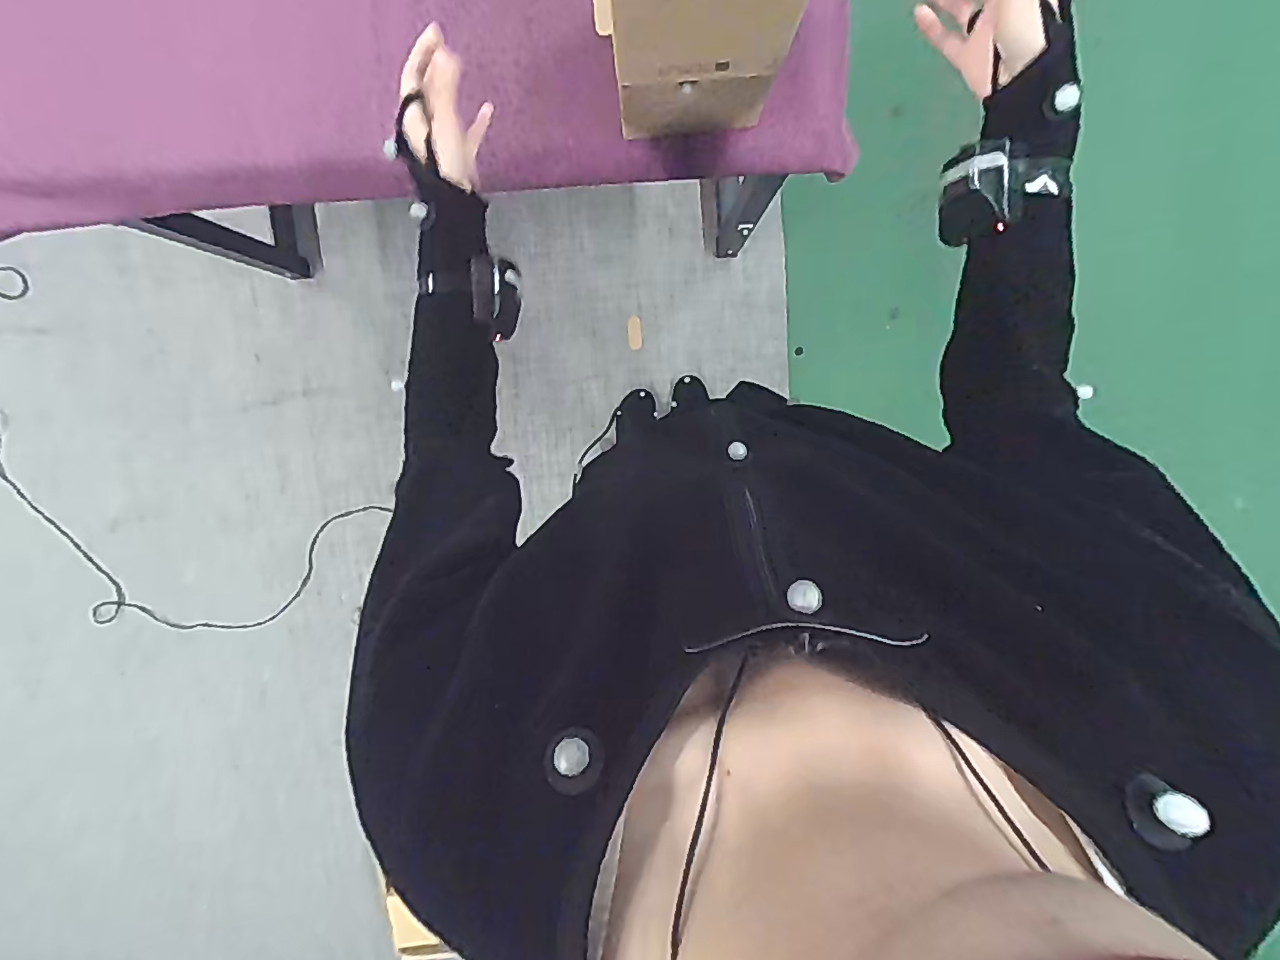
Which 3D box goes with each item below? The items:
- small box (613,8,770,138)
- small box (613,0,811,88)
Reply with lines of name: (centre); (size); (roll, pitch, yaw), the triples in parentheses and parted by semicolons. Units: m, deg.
small box: (0.060, -0.521, 0.620); (0.179, 0.176, 0.168); (-5, 99, 1)
small box: (0.057, -0.478, 0.460); (0.168, 0.176, 0.179); (-2, 98, 2)
